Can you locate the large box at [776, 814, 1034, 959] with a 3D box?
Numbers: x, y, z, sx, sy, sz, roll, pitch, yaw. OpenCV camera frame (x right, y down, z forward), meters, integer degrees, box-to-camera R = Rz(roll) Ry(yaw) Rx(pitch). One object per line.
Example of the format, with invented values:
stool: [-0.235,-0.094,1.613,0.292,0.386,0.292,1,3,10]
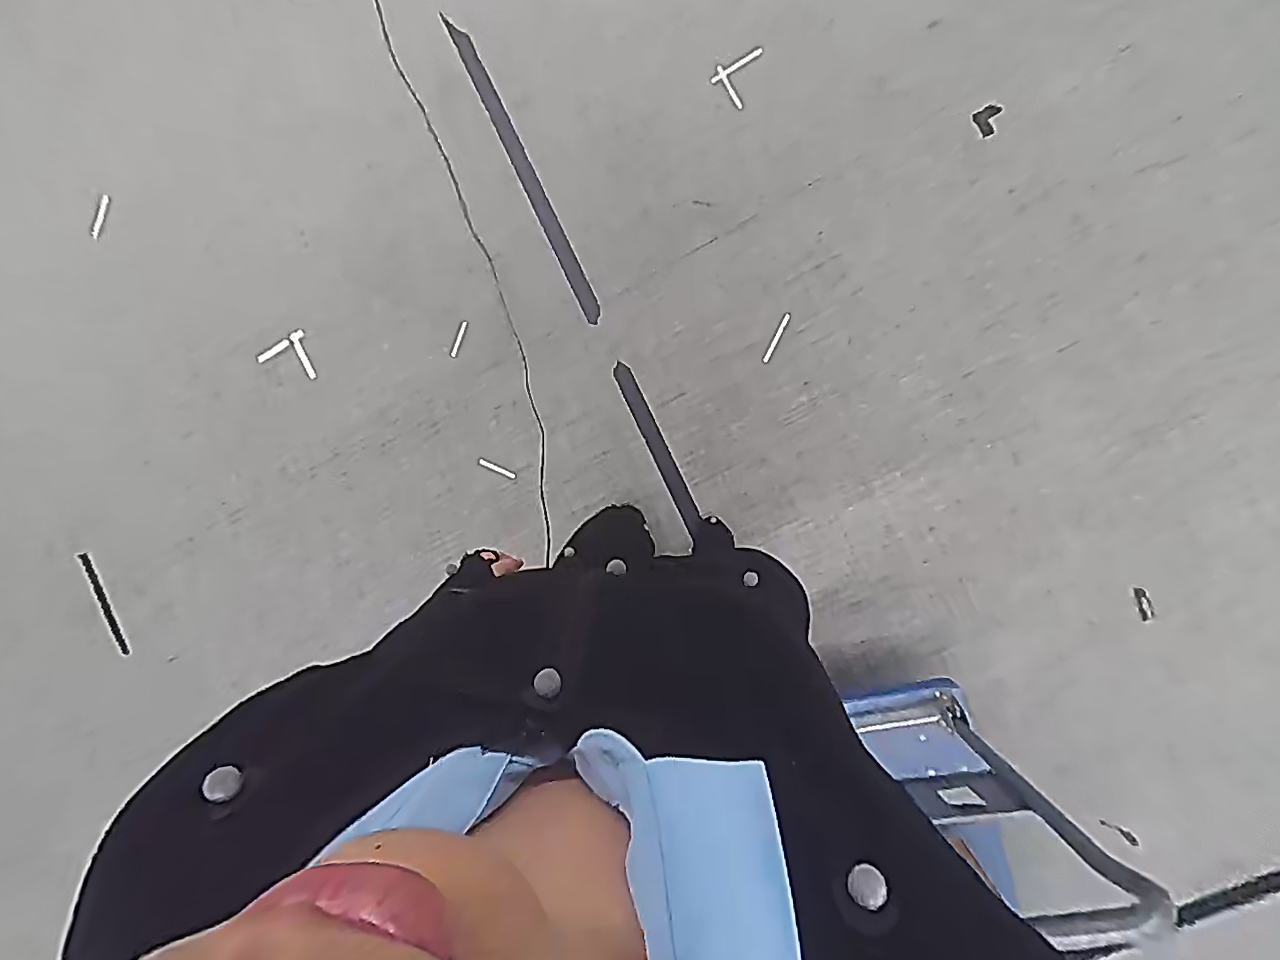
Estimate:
large box: [0.525,0.946,1.103,0.408,0.320,0.320,-13,88,7]
